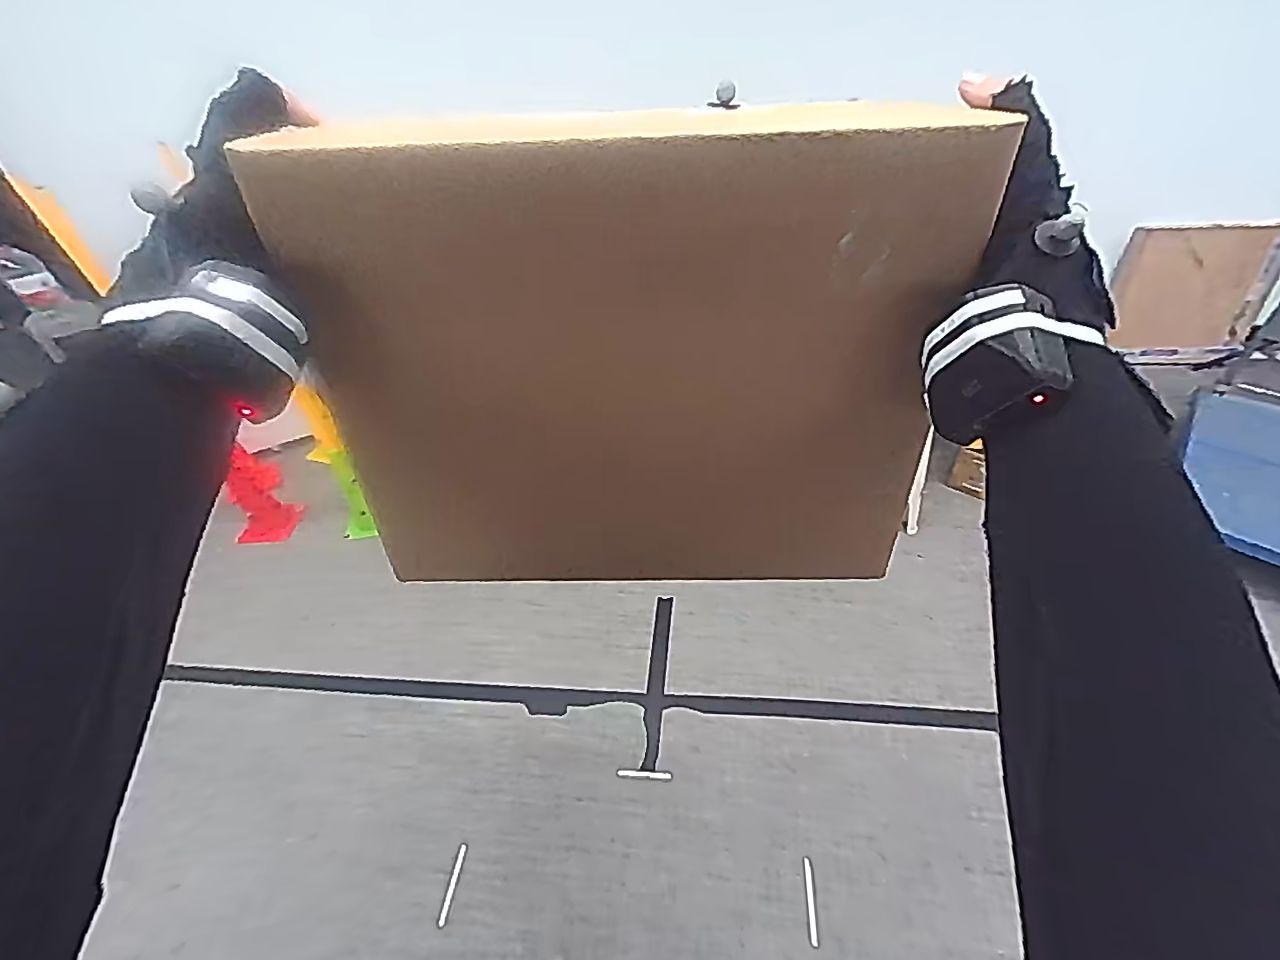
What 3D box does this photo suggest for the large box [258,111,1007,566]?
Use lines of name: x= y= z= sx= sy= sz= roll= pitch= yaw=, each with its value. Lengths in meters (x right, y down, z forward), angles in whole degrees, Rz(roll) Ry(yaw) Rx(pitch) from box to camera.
large box: x=-0.004 y=-0.137 z=0.486 sx=0.408 sy=0.320 sz=0.320 roll=0 pitch=35 yaw=1
